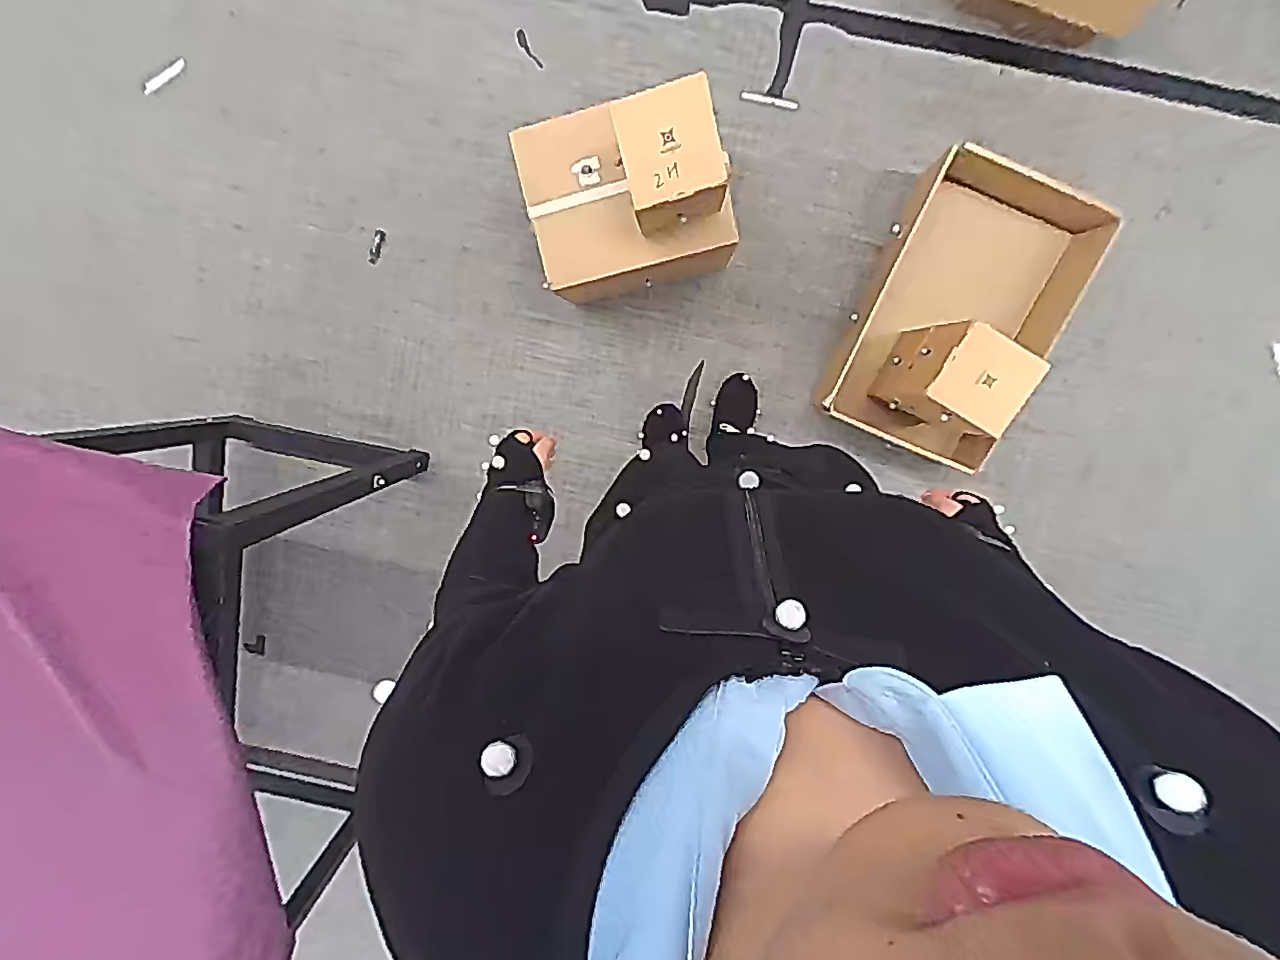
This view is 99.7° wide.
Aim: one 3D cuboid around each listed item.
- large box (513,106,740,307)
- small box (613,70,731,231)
[{"bbox_3d":[-0.014,-0.608,1.219,0.408,0.320,0.320,-13,100,7],"label":"large box"},{"bbox_3d":[0.058,-0.575,0.968,0.168,0.176,0.179,-14,101,8],"label":"small box"}]
